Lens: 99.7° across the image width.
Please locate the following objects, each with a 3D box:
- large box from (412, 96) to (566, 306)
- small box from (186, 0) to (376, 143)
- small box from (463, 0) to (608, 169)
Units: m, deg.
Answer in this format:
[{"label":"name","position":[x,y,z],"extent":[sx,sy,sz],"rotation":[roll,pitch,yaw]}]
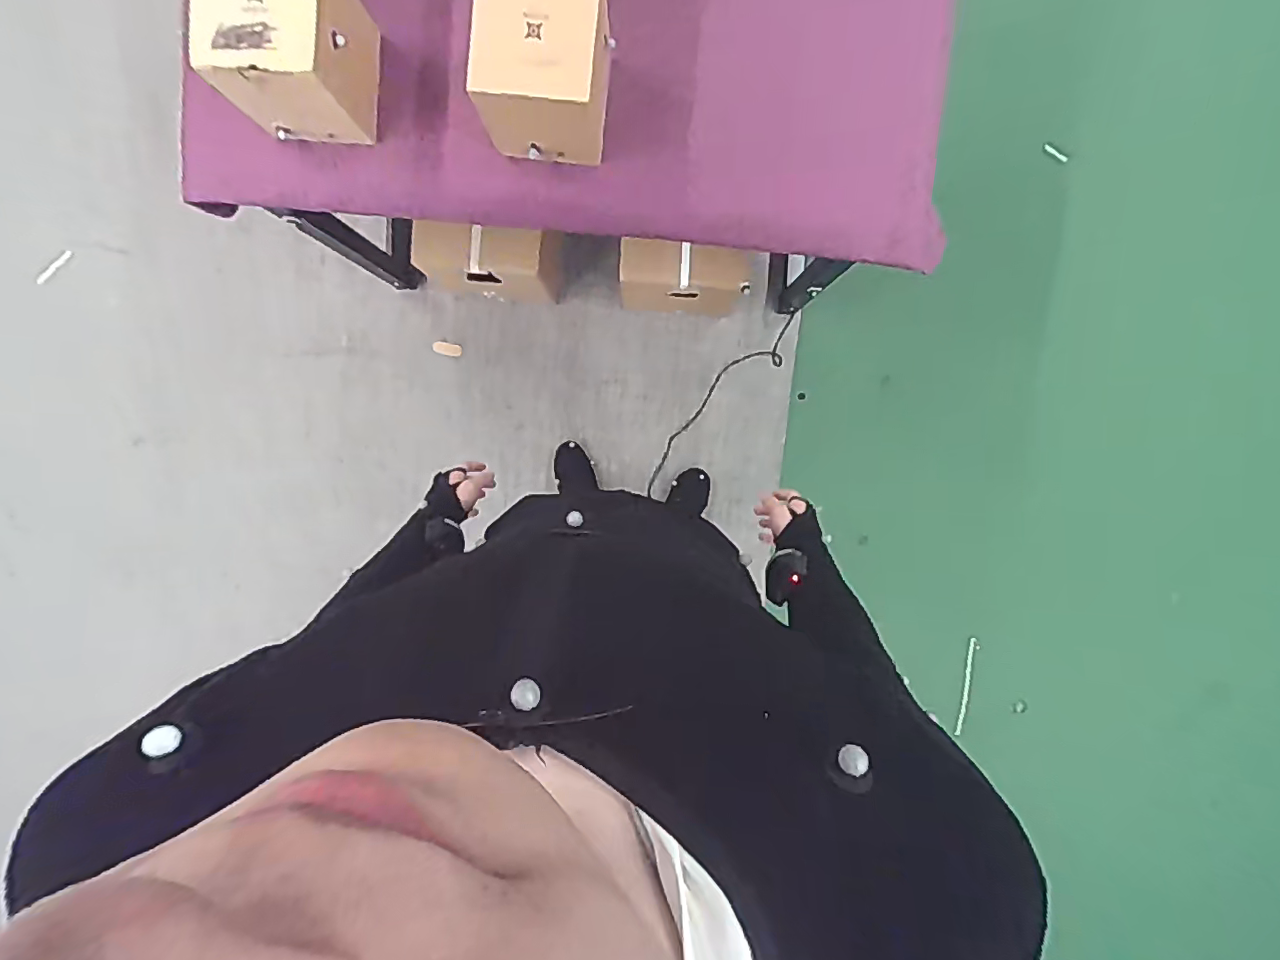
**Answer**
[{"label":"large box","position":[-0.380,-0.707,1.434],"extent":[0.320,0.320,0.408],"rotation":[5,93,-1]},{"label":"small box","position":[-0.500,-0.618,0.776],"extent":[0.168,0.176,0.179],"rotation":[4,93,0]},{"label":"small box","position":[-0.138,-0.586,0.778],"extent":[0.168,0.176,0.179],"rotation":[7,94,1]}]
